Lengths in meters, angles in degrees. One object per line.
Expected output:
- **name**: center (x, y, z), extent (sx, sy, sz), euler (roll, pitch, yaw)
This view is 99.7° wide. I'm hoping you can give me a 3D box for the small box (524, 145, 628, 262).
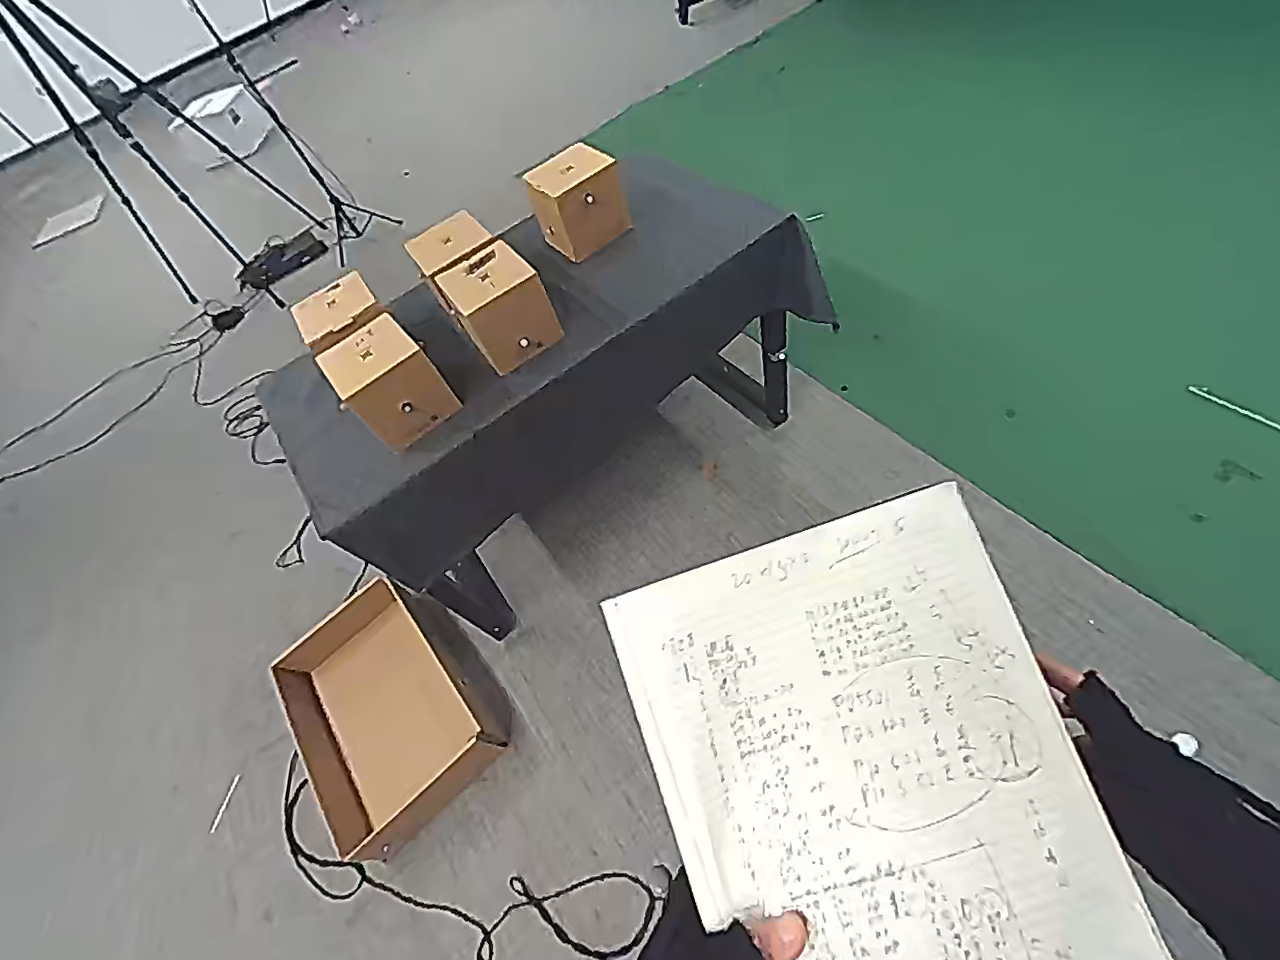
- **small box**: center (-0.146, -0.668, 1.313), extent (0.179, 0.176, 0.168), euler (-37, 56, -9)
